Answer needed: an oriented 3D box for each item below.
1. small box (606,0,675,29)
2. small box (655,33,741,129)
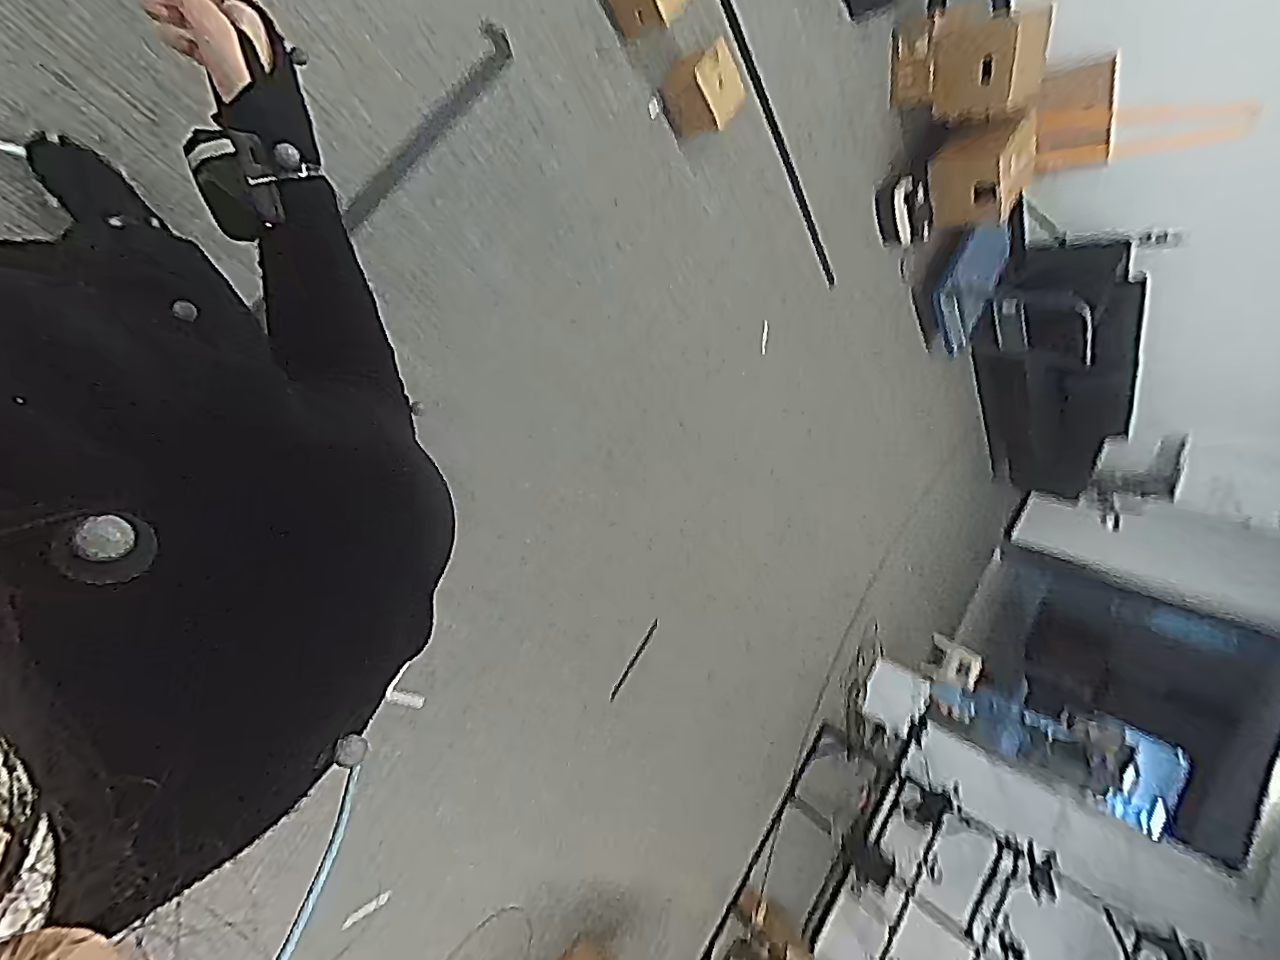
[{"bbox_3d":[0.002,-1.386,1.479,0.179,0.176,0.168,43,75,-44],"label":"small box"},{"bbox_3d":[0.183,-1.244,1.703,0.168,0.176,0.179,-58,135,-11],"label":"small box"}]
